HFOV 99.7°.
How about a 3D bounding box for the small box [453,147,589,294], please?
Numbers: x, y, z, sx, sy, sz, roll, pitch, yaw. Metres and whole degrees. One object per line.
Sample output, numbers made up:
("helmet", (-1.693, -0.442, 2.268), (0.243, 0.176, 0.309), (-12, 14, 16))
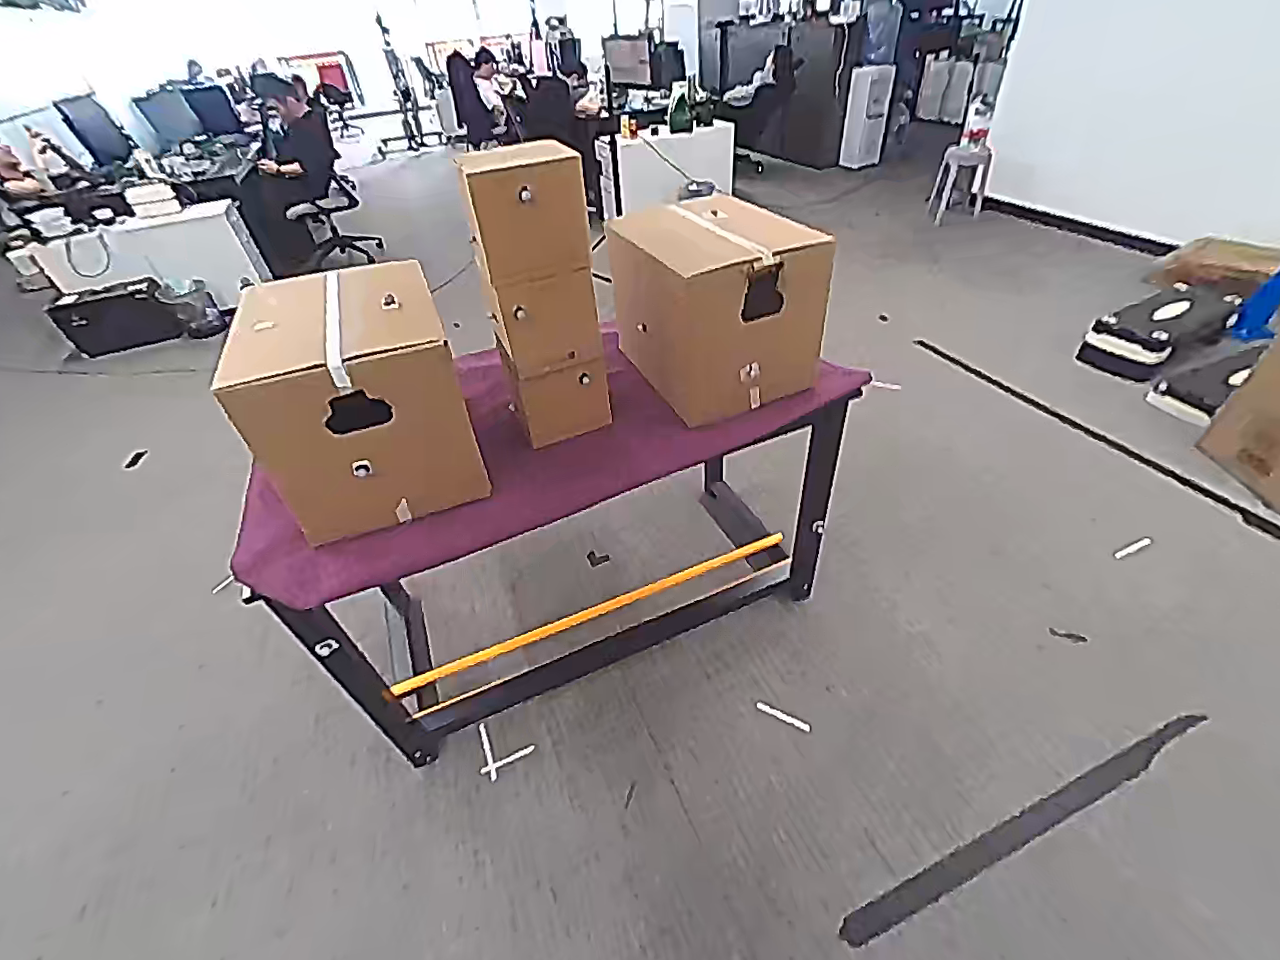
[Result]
("small box", (-0.190, -0.431, 0.897), (0.179, 0.176, 0.168), (-19, 42, -14))

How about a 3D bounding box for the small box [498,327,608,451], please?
("small box", (-0.172, -0.188, 1.114), (0.179, 0.176, 0.168), (-20, 42, -16))

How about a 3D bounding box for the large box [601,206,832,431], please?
("large box", (0.149, -0.364, 1.174), (0.320, 0.320, 0.408), (-19, 41, -15))
